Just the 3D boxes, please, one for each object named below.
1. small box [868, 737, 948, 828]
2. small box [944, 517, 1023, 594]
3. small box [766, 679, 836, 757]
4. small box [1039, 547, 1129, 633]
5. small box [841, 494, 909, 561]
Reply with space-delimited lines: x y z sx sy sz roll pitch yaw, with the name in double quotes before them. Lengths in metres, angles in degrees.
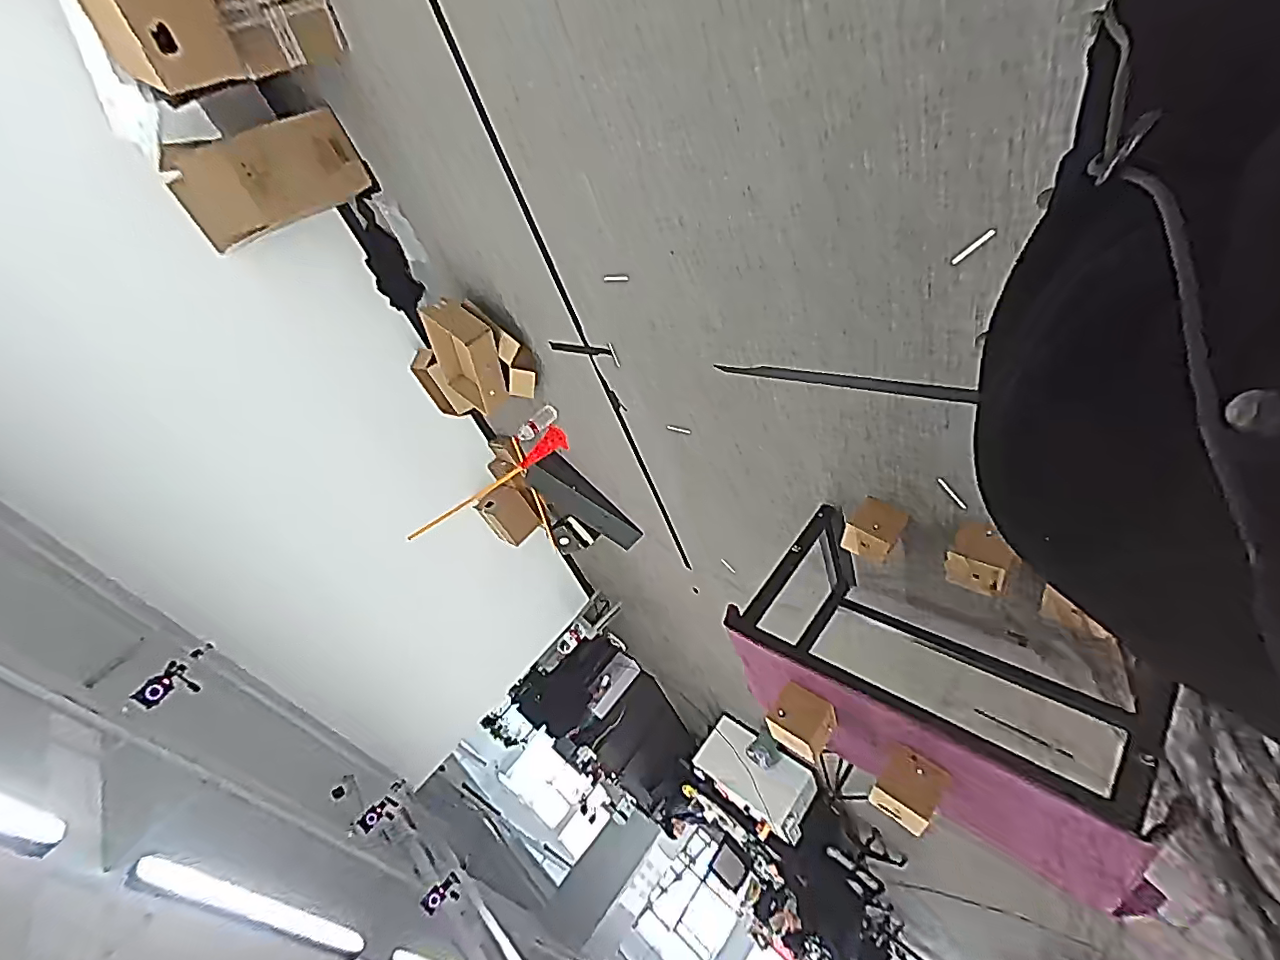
"small box" 0.848 0.955 1.713 0.168 0.176 0.179 26 149 33
"small box" 1.183 0.253 1.866 0.179 0.176 0.168 22 146 40
"small box" 0.582 0.847 1.946 0.179 0.176 0.168 19 146 41
"small box" 1.387 0.336 1.689 0.179 0.176 0.168 20 144 42
"small box" 0.929 0.183 2.140 0.179 0.176 0.168 28 150 28
